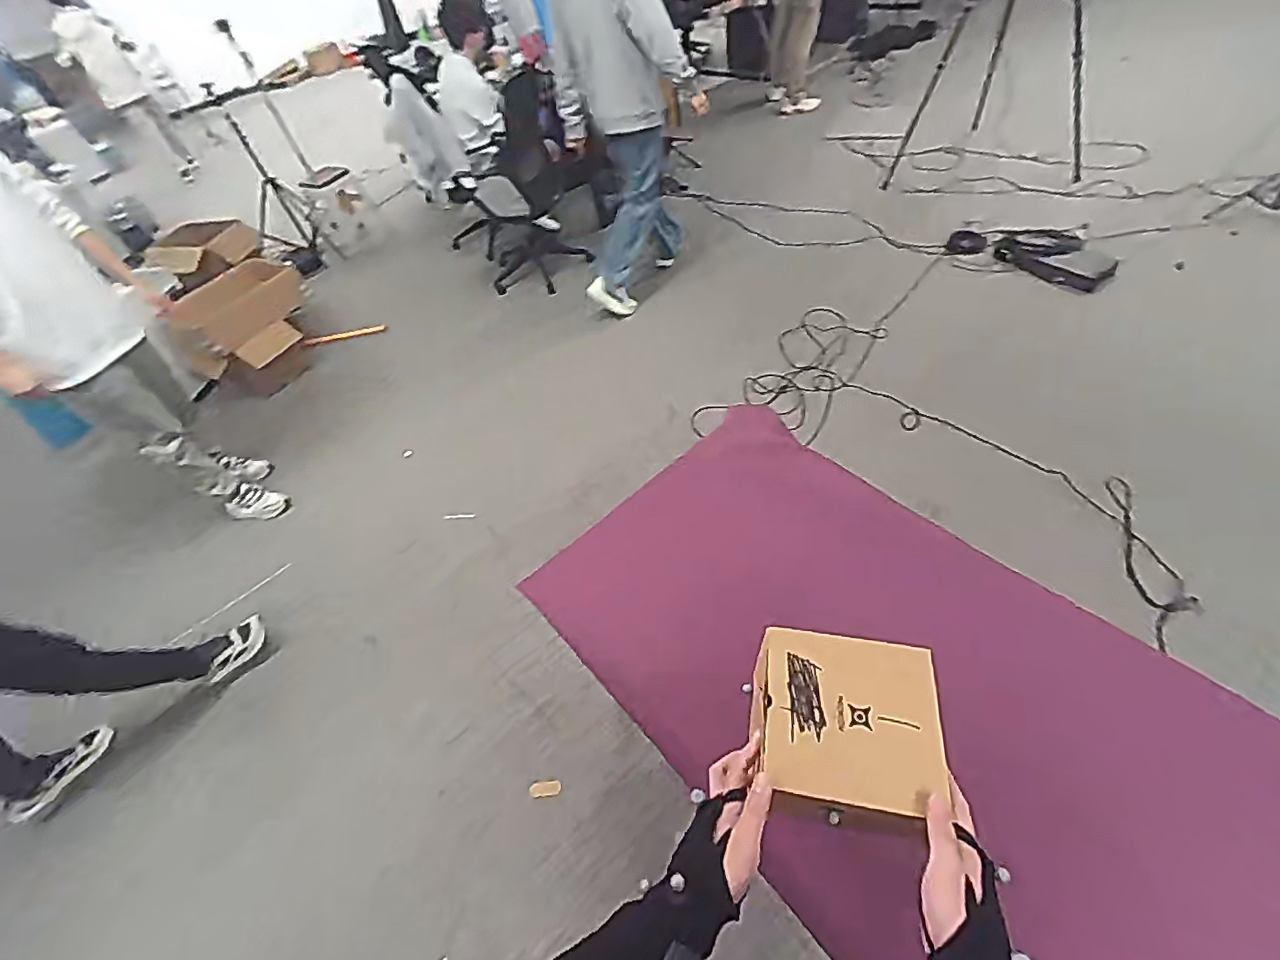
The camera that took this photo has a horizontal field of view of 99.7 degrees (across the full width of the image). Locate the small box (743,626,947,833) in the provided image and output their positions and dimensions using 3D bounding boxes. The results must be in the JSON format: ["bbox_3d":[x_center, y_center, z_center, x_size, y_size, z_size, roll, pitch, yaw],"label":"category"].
[{"bbox_3d":[0.215,0.287,0.615,0.179,0.176,0.168,6,53,8],"label":"small box"}]
